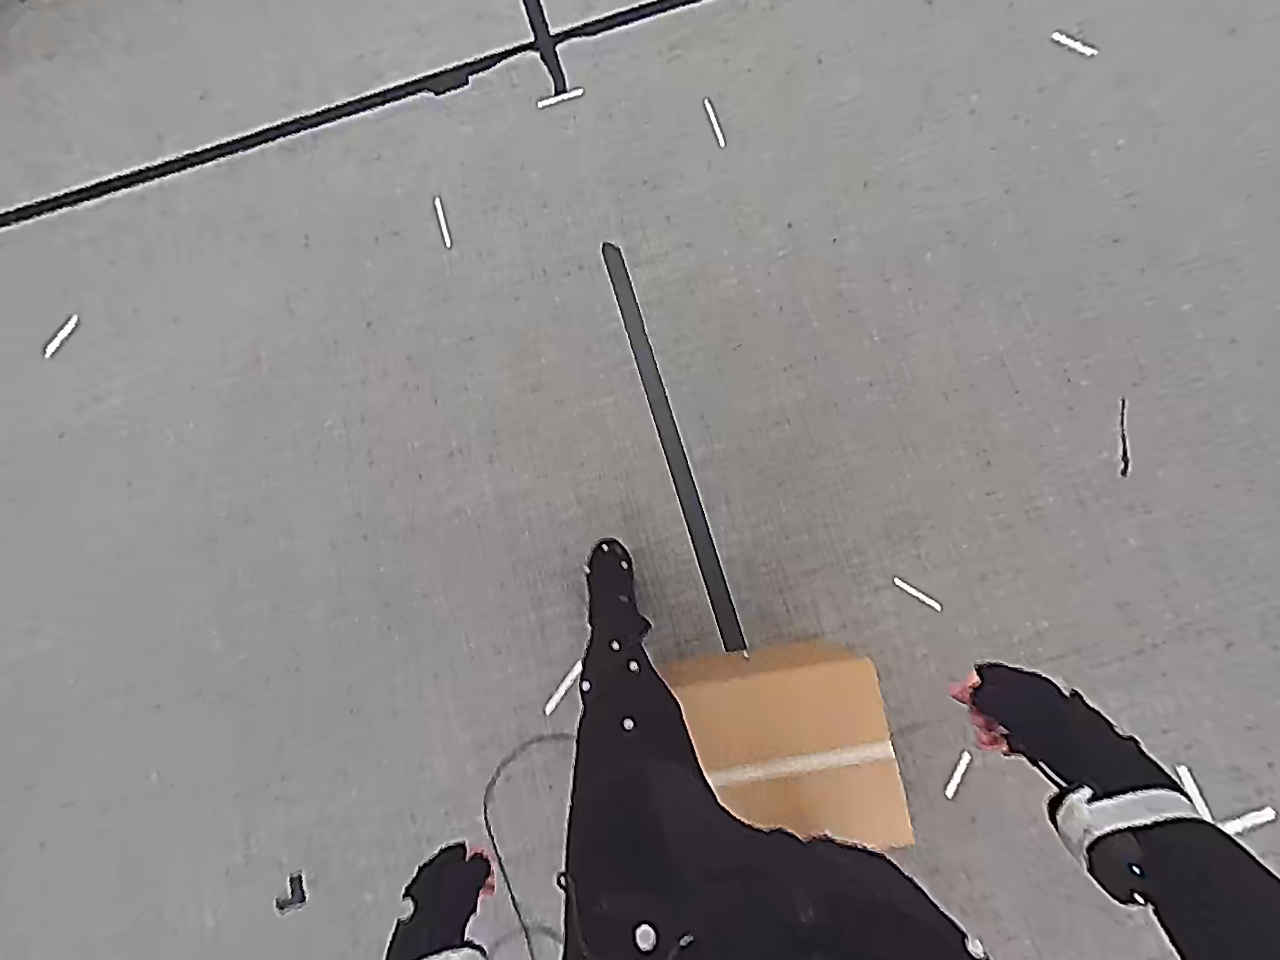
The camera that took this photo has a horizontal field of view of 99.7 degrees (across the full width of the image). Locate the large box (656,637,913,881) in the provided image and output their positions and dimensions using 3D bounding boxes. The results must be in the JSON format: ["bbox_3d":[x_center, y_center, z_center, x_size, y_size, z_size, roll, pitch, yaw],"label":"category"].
[{"bbox_3d":[0.257,0.529,1.101,0.408,0.320,0.320,-10,80,0],"label":"large box"}]
